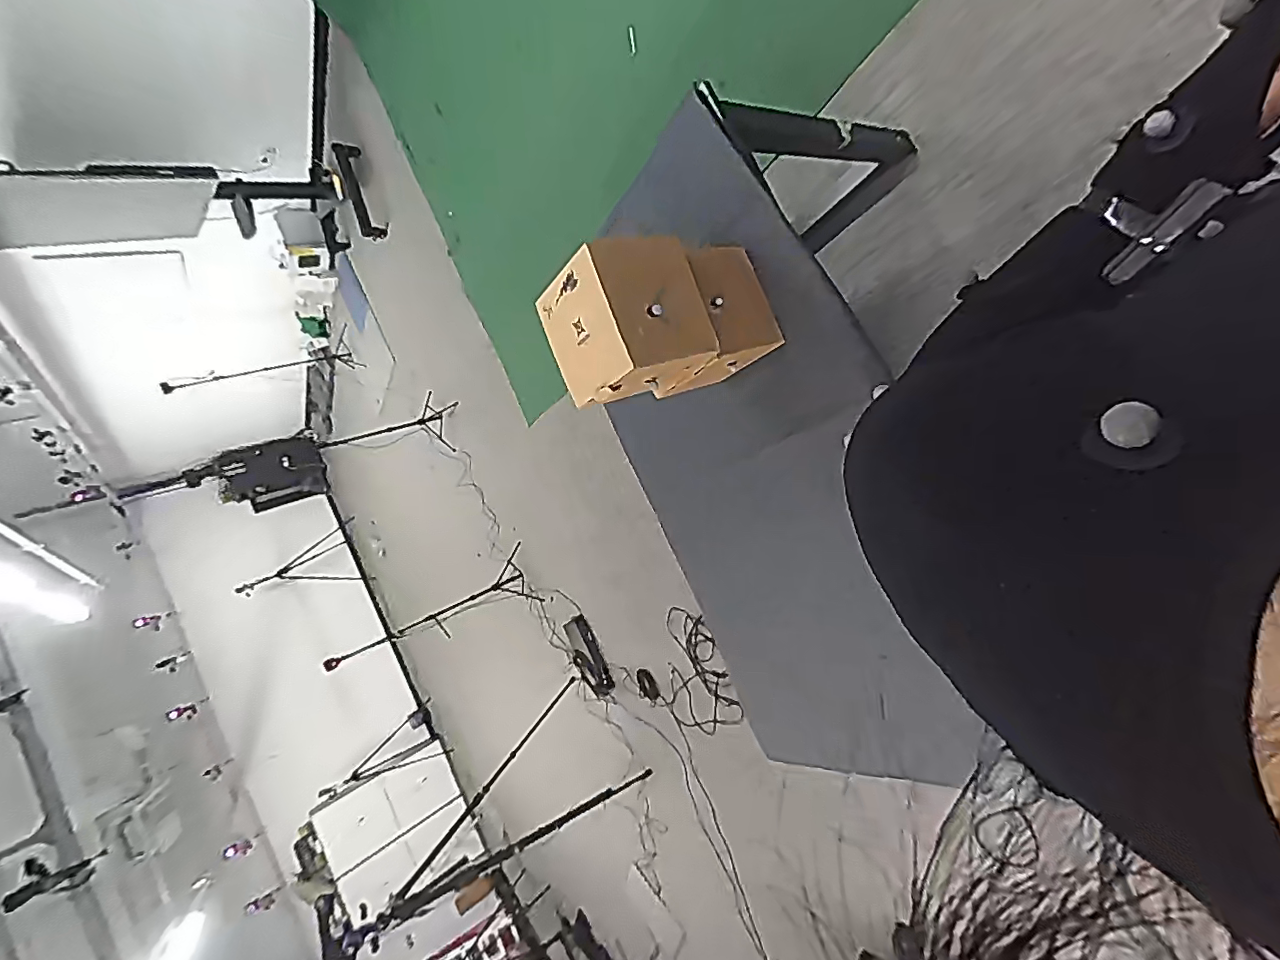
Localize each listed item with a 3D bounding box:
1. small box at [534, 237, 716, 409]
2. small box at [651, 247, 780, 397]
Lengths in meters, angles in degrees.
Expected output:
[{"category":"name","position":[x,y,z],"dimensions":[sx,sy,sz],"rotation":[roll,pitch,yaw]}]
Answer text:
[{"category":"small box","position":[-0.019,-0.226,0.778],"dimensions":[0.168,0.176,0.179],"rotation":[-21,92,54]},{"category":"small box","position":[0.099,-0.261,0.888],"dimensions":[0.168,0.176,0.179],"rotation":[-25,87,53]}]
